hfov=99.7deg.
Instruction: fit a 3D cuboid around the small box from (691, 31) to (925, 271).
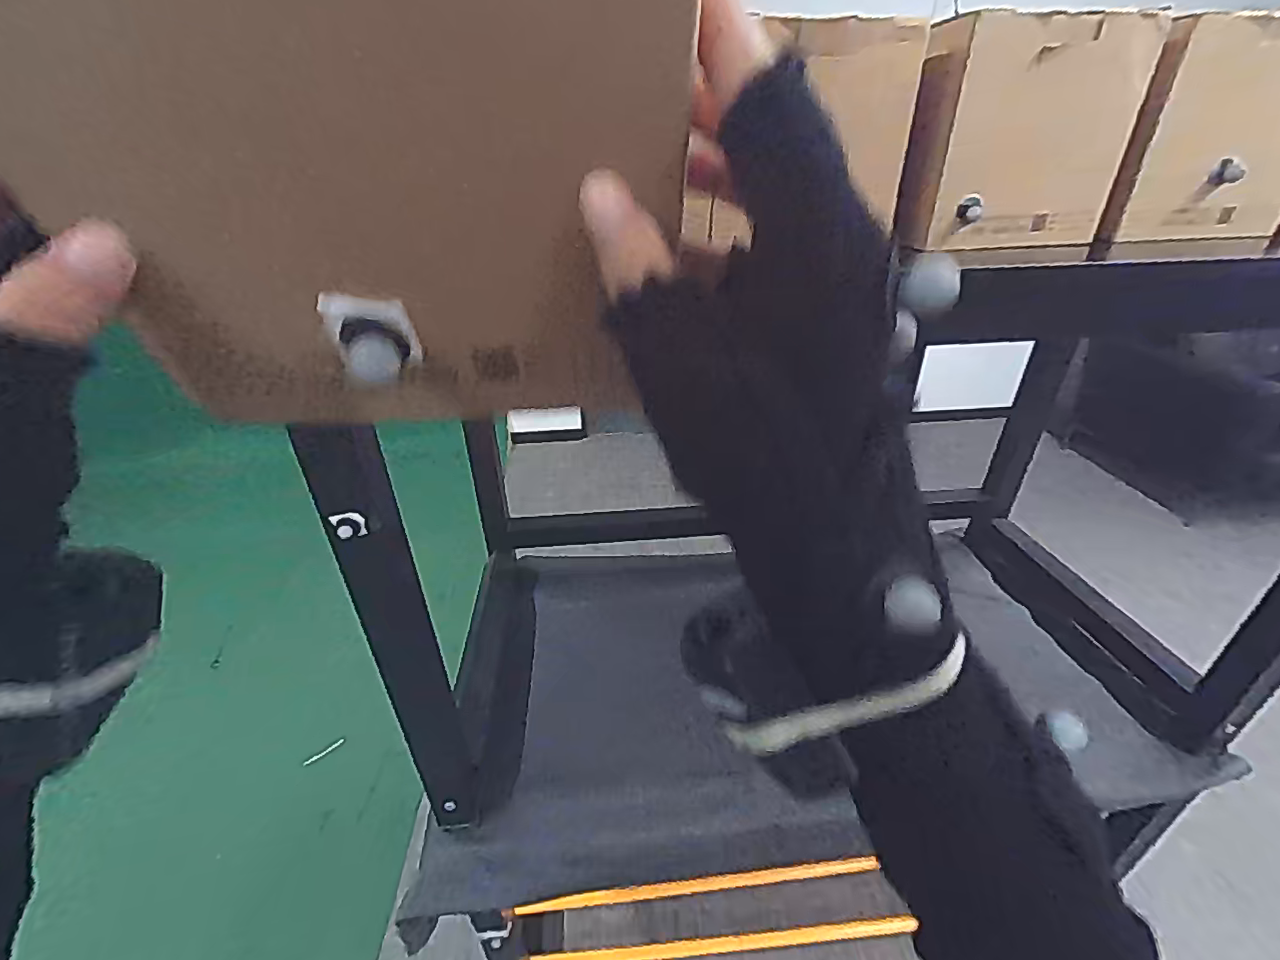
[{"bbox_3d":[0.128,-0.302,0.516,0.168,0.176,0.179,-5,31,-7],"label":"small box"}]
